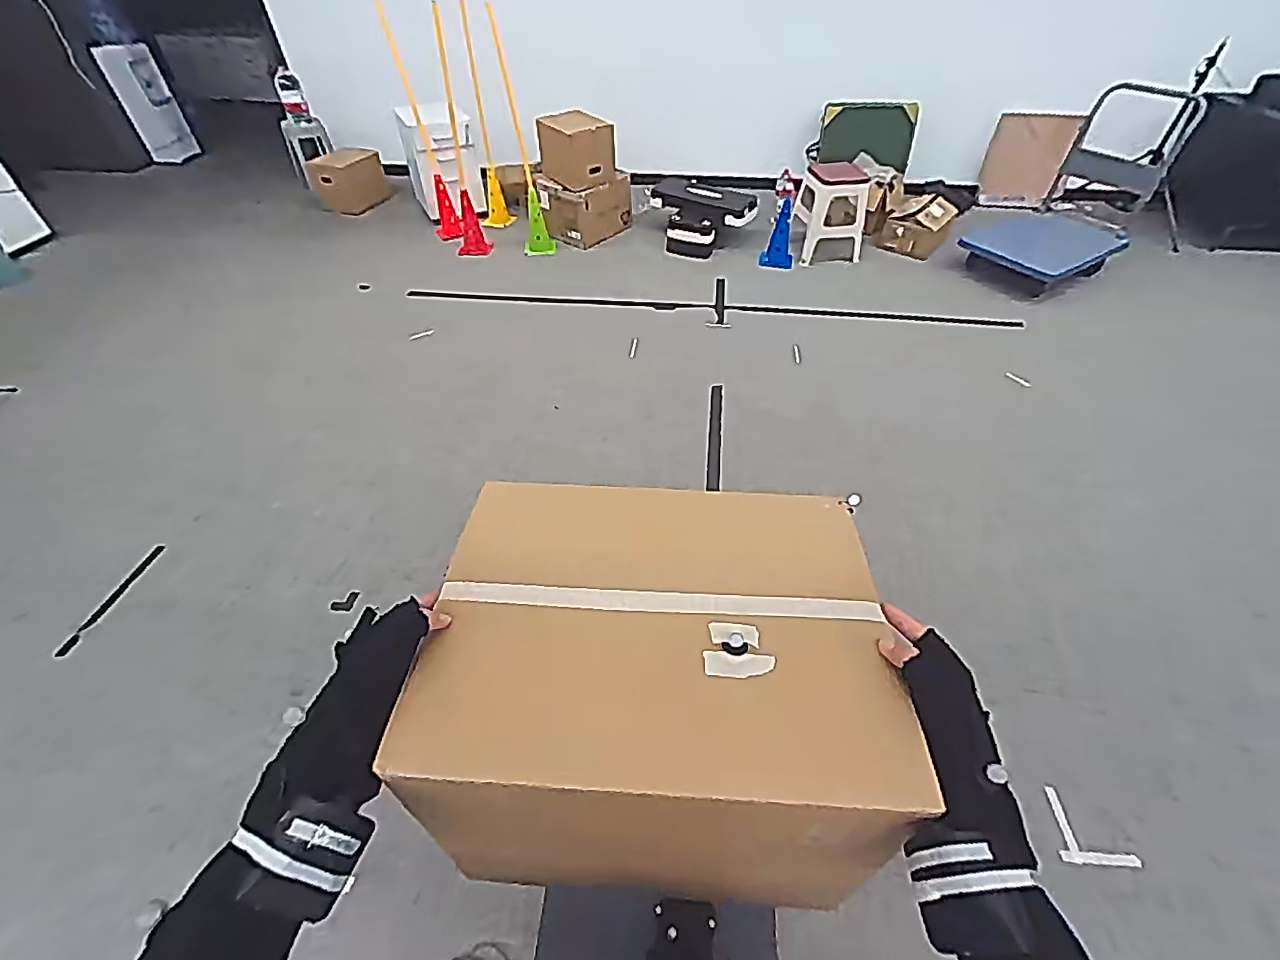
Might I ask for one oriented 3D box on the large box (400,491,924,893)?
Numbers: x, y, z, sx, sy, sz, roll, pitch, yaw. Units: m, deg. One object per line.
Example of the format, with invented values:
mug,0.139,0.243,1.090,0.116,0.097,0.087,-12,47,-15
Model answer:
large box,0.018,0.232,0.611,0.408,0.320,0.320,3,42,2
